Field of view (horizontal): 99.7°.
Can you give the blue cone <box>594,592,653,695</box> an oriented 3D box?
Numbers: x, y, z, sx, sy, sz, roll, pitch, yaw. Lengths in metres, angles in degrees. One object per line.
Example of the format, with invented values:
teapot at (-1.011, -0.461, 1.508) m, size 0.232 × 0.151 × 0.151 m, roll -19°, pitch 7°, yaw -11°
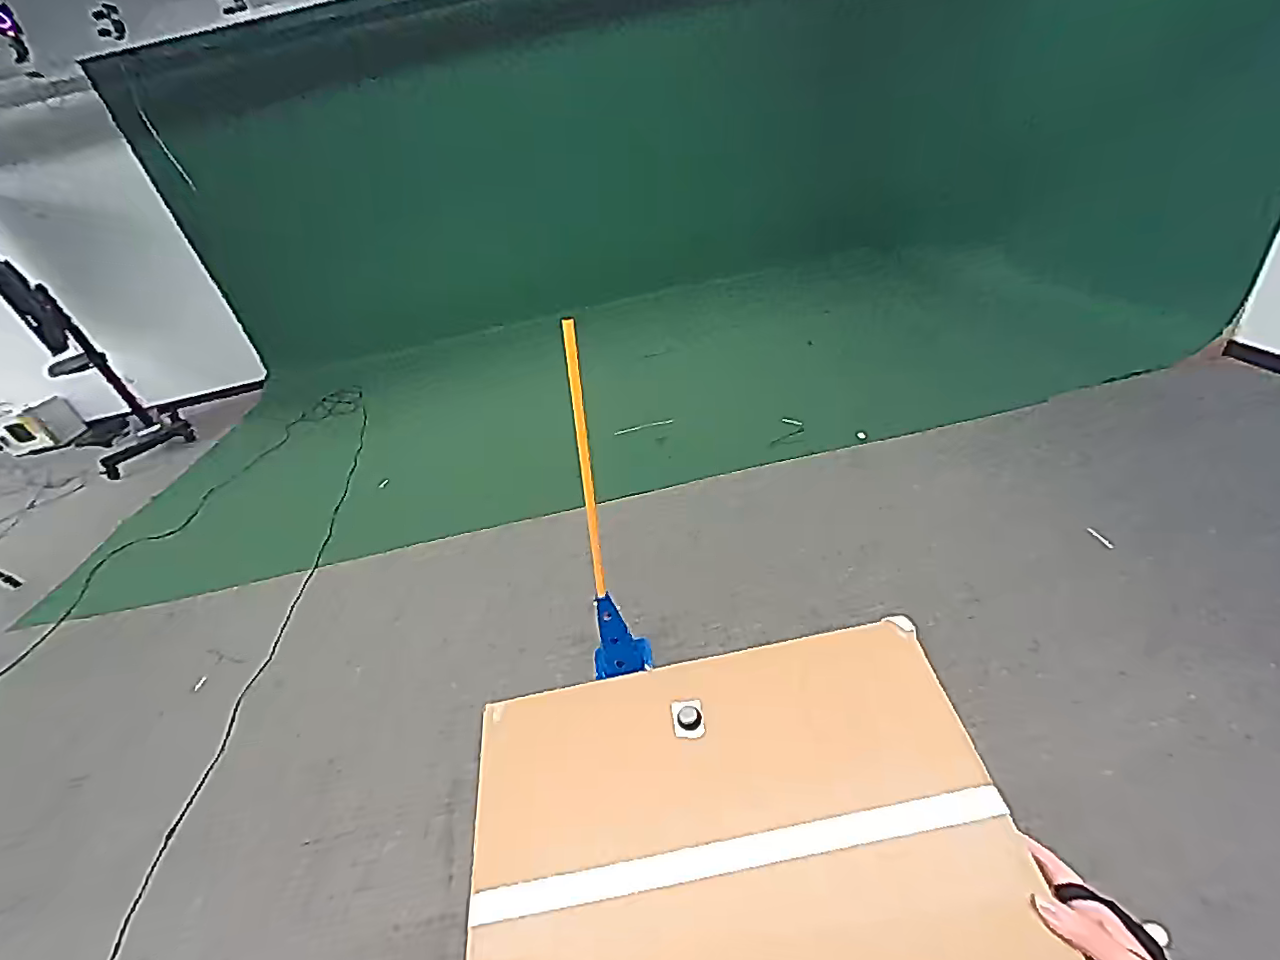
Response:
blue cone at (-0.085, 0.497, 1.747) m, size 0.193 × 0.380 × 0.192 m, roll -13°, pitch 34°, yaw -3°
